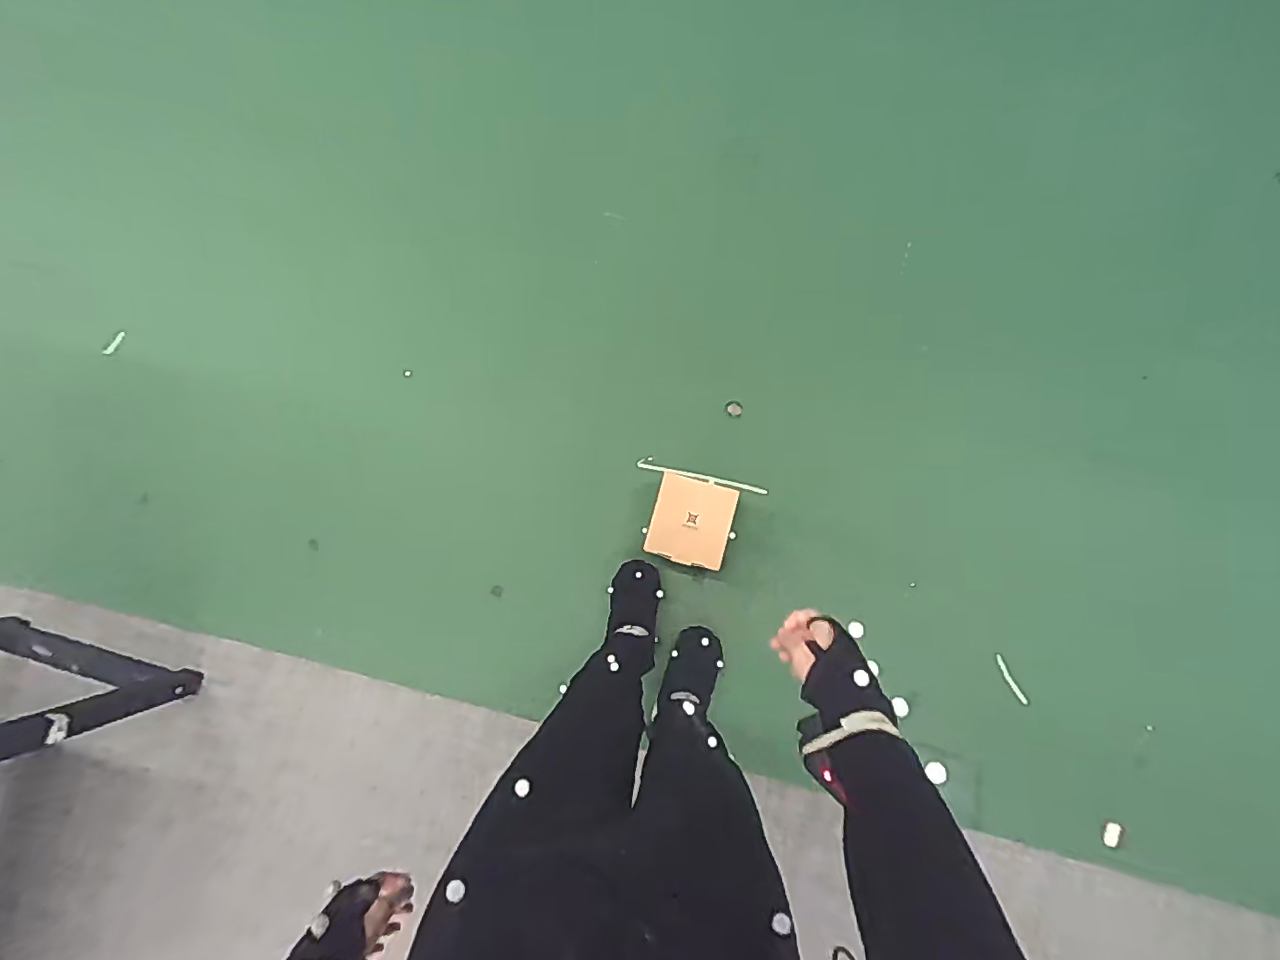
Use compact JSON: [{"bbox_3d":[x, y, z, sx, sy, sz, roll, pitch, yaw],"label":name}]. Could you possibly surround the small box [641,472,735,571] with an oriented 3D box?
[{"bbox_3d":[0.105,0.092,1.215,0.168,0.176,0.179,15,88,5],"label":"small box"}]
